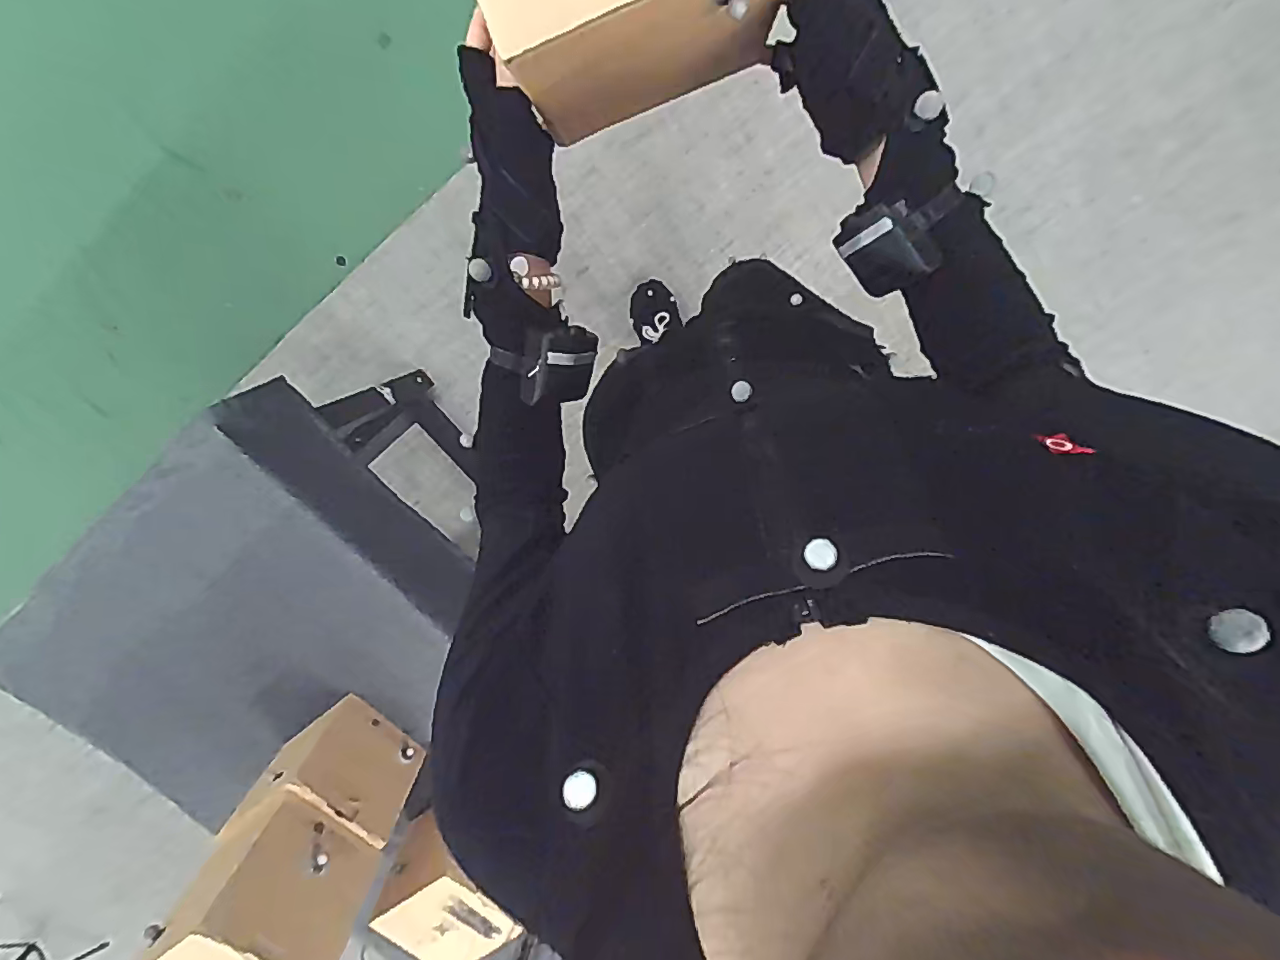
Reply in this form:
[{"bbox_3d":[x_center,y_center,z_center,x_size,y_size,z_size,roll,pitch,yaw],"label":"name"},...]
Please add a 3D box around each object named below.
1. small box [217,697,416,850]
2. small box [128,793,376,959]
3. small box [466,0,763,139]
[{"bbox_3d":[-0.473,0.472,0.828,0.179,0.176,0.168,-38,105,13],"label":"small box"},{"bbox_3d":[-0.476,0.545,0.680,0.179,0.176,0.168,-39,105,12],"label":"small box"},{"bbox_3d":[-0.023,-0.347,0.333,0.179,0.176,0.168,-19,106,8],"label":"small box"}]
